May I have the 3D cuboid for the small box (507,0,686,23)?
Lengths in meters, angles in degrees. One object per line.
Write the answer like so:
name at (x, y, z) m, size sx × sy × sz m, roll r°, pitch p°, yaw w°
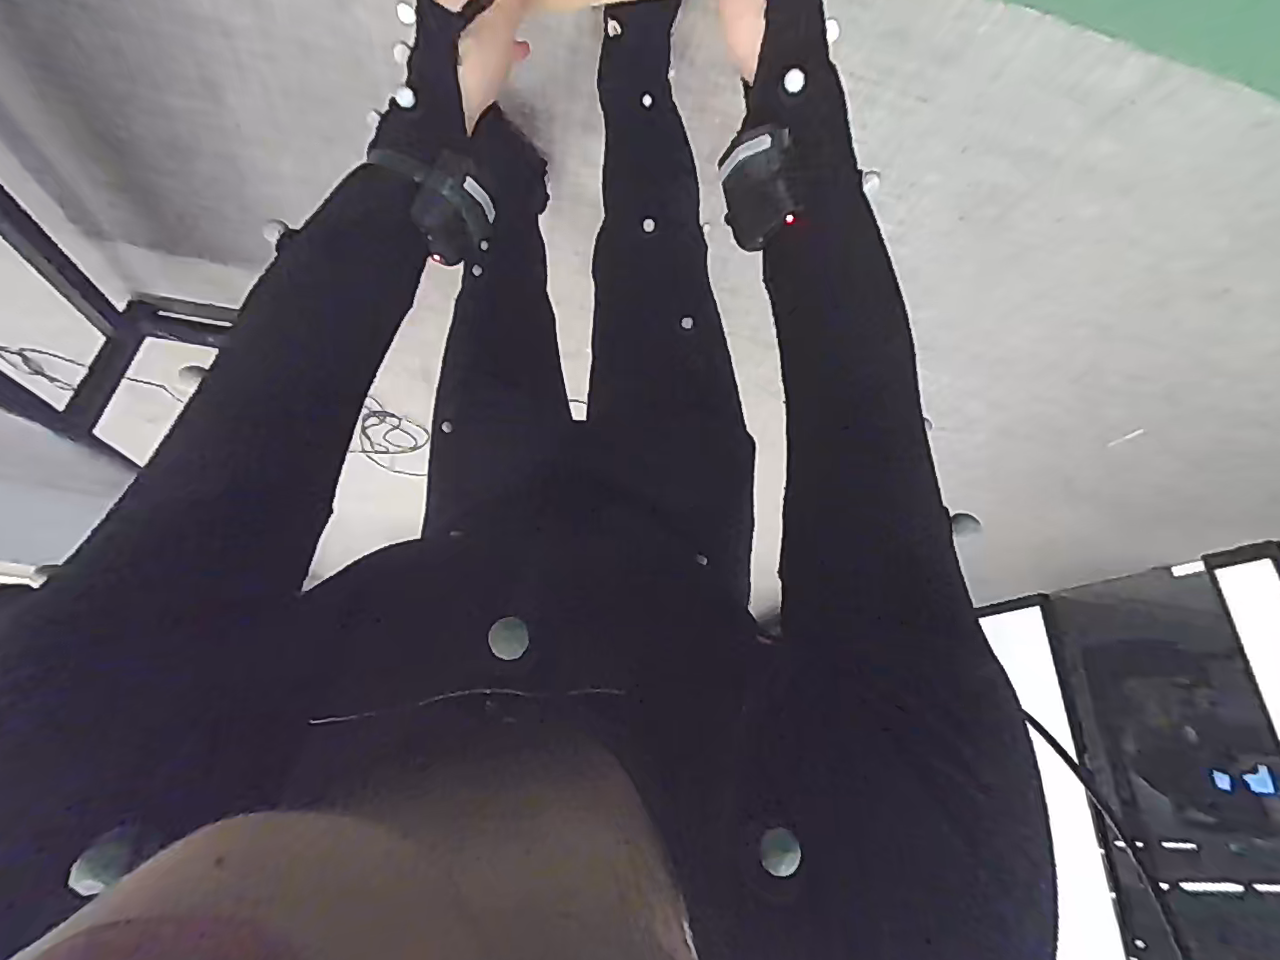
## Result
small box at (-0.021, -0.466, 0.369) m, size 0.179 × 0.176 × 0.168 m, roll 0°, pitch 157°, yaw 10°
